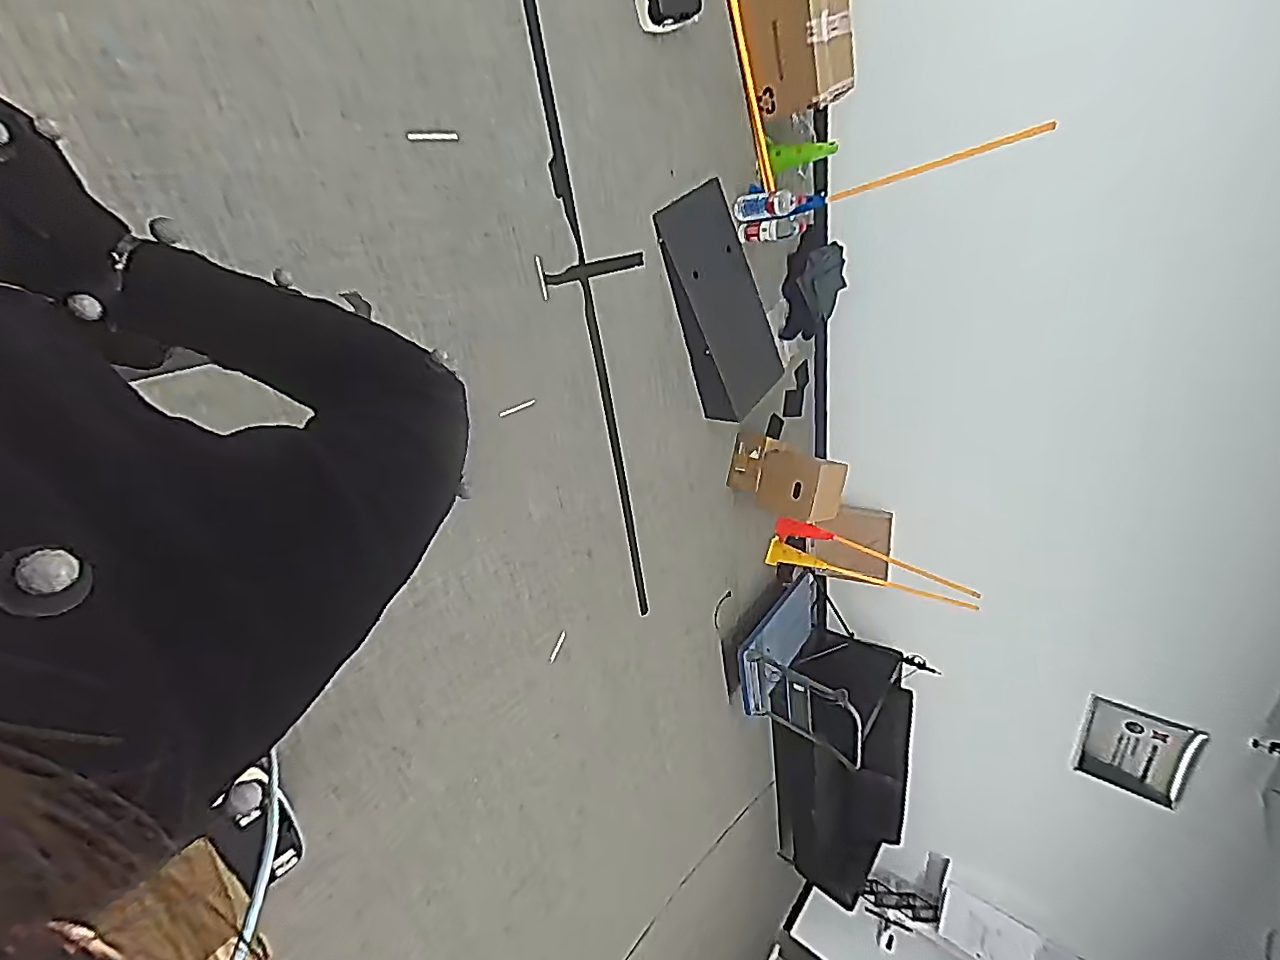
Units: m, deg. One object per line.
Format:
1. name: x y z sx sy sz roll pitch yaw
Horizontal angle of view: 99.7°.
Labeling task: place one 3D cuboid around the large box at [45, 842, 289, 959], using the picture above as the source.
1. large box: -0.952 1.036 1.038 0.408 0.320 0.320 -33 124 -41

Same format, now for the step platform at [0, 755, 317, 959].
1. step platform: -1.116 0.959 1.198 0.684 0.204 0.286 -27 120 -44
